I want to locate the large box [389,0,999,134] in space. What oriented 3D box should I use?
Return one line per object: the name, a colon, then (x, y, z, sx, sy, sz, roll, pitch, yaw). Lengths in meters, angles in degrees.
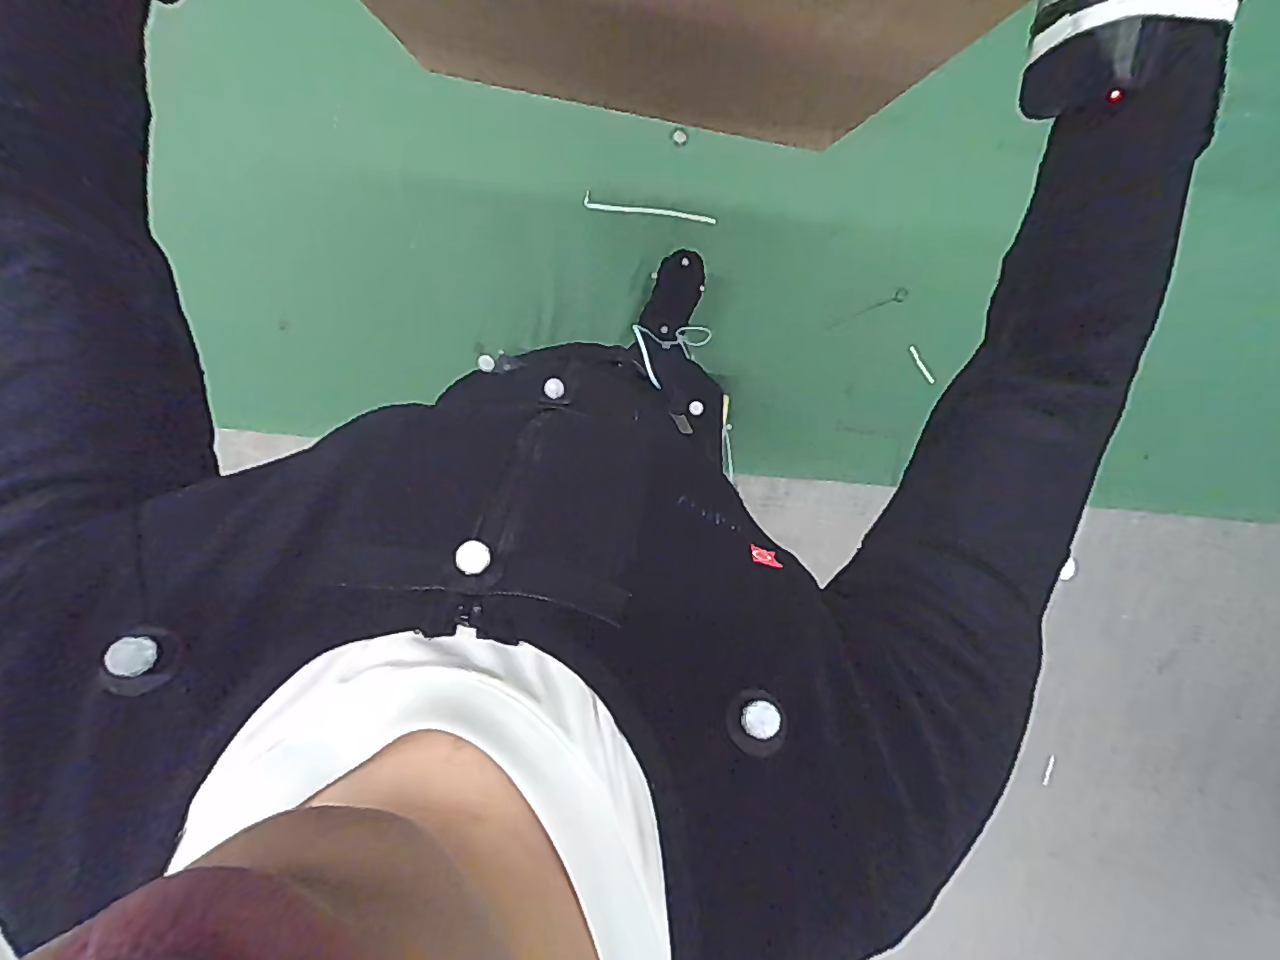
large box: (0.025, -0.467, 0.346, 0.408, 0.320, 0.320, 8, 110, -5)
